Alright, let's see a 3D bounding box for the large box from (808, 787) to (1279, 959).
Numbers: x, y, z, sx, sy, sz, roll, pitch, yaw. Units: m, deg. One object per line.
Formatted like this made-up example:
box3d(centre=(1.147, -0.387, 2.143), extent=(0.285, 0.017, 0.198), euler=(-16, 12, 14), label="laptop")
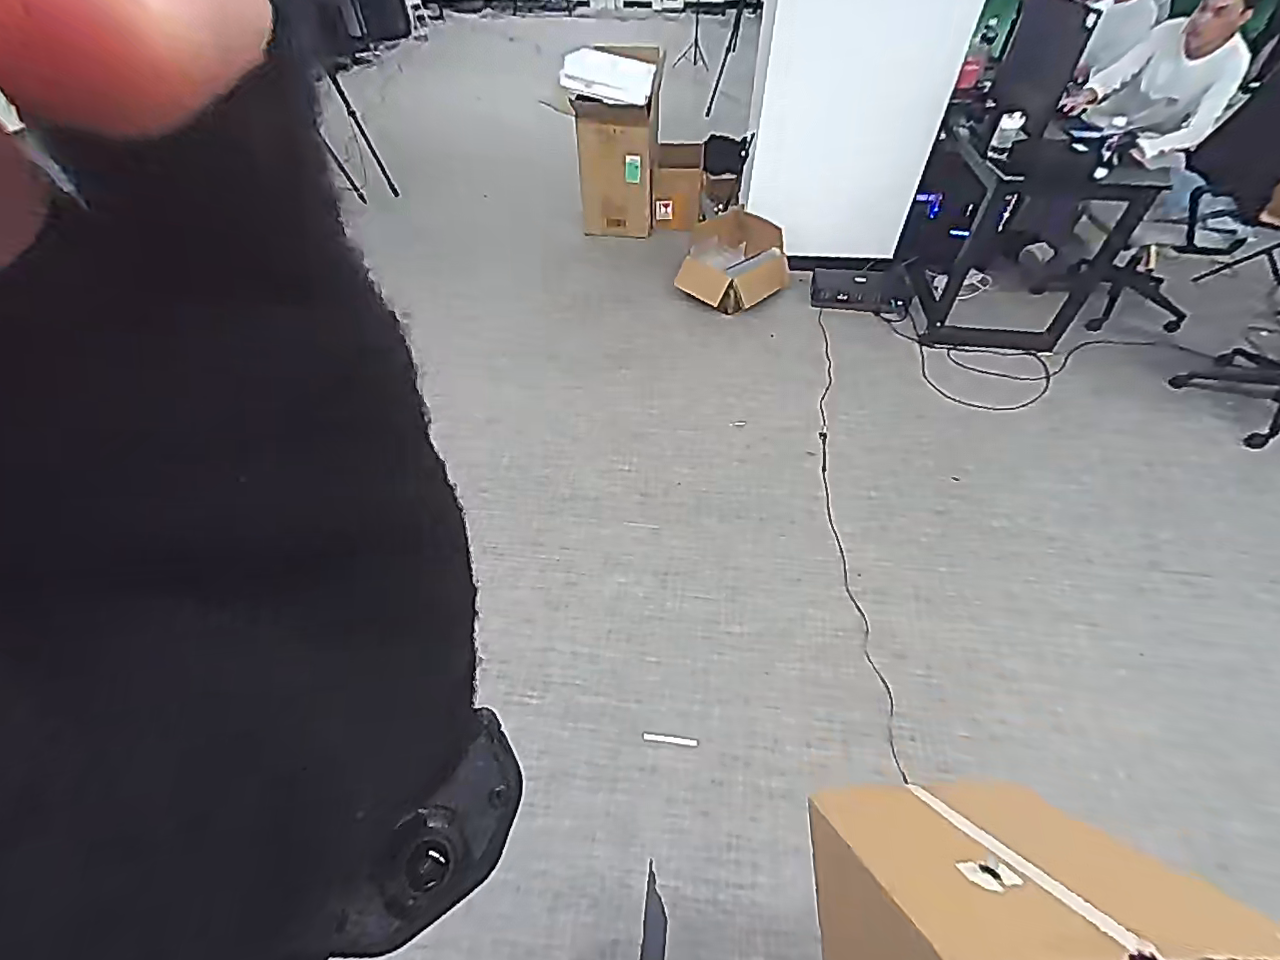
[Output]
box3d(centre=(0.403, 0.574, 0.585), extent=(0.320, 0.408, 0.320), euler=(-2, 79, 0), label="large box")
